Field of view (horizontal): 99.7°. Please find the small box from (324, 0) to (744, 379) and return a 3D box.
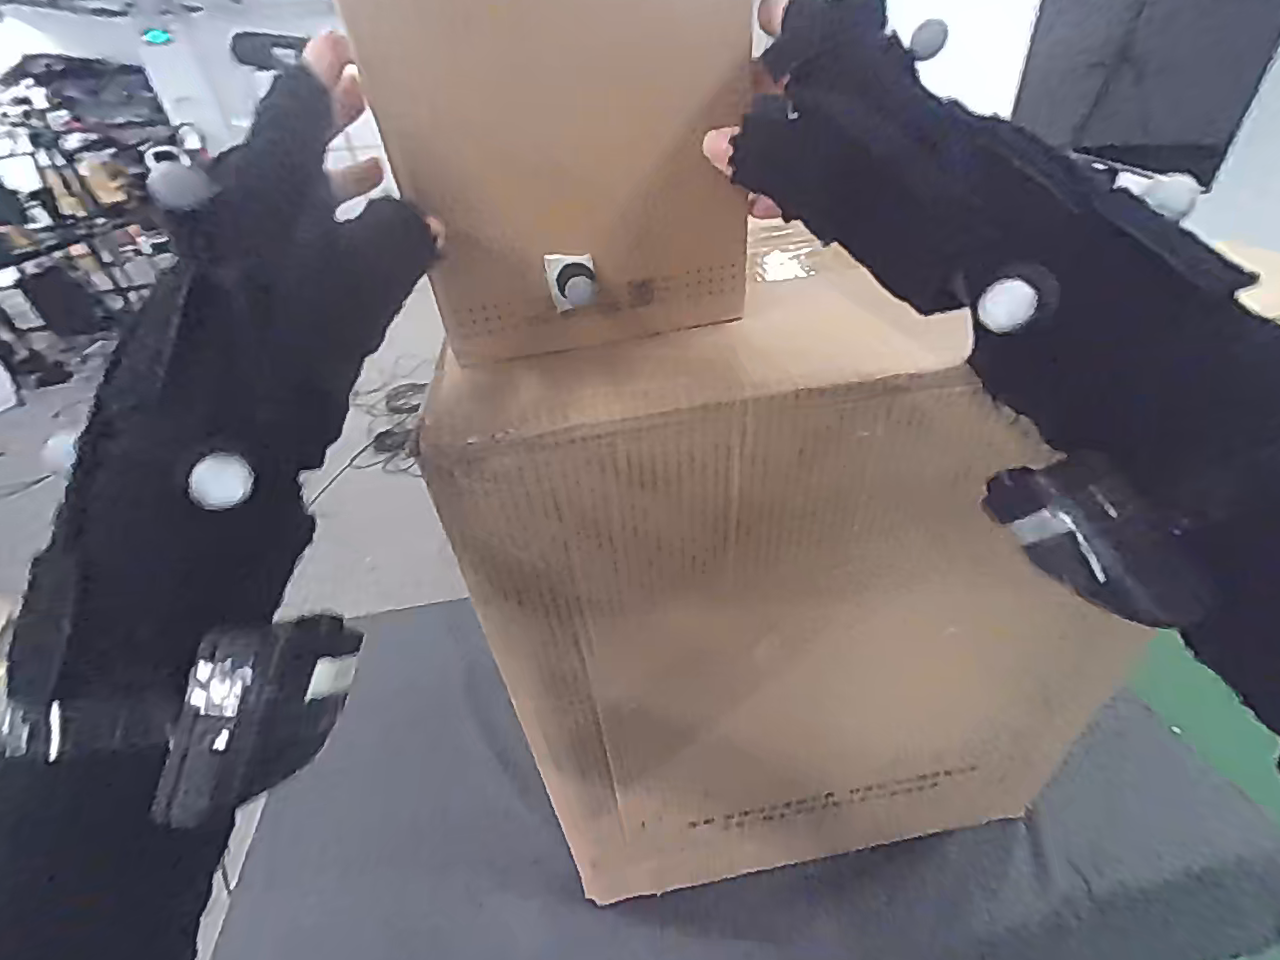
[{"bbox_3d":[-0.048,-0.182,0.319,0.168,0.176,0.179,-15,40,-6],"label":"small box"}]
